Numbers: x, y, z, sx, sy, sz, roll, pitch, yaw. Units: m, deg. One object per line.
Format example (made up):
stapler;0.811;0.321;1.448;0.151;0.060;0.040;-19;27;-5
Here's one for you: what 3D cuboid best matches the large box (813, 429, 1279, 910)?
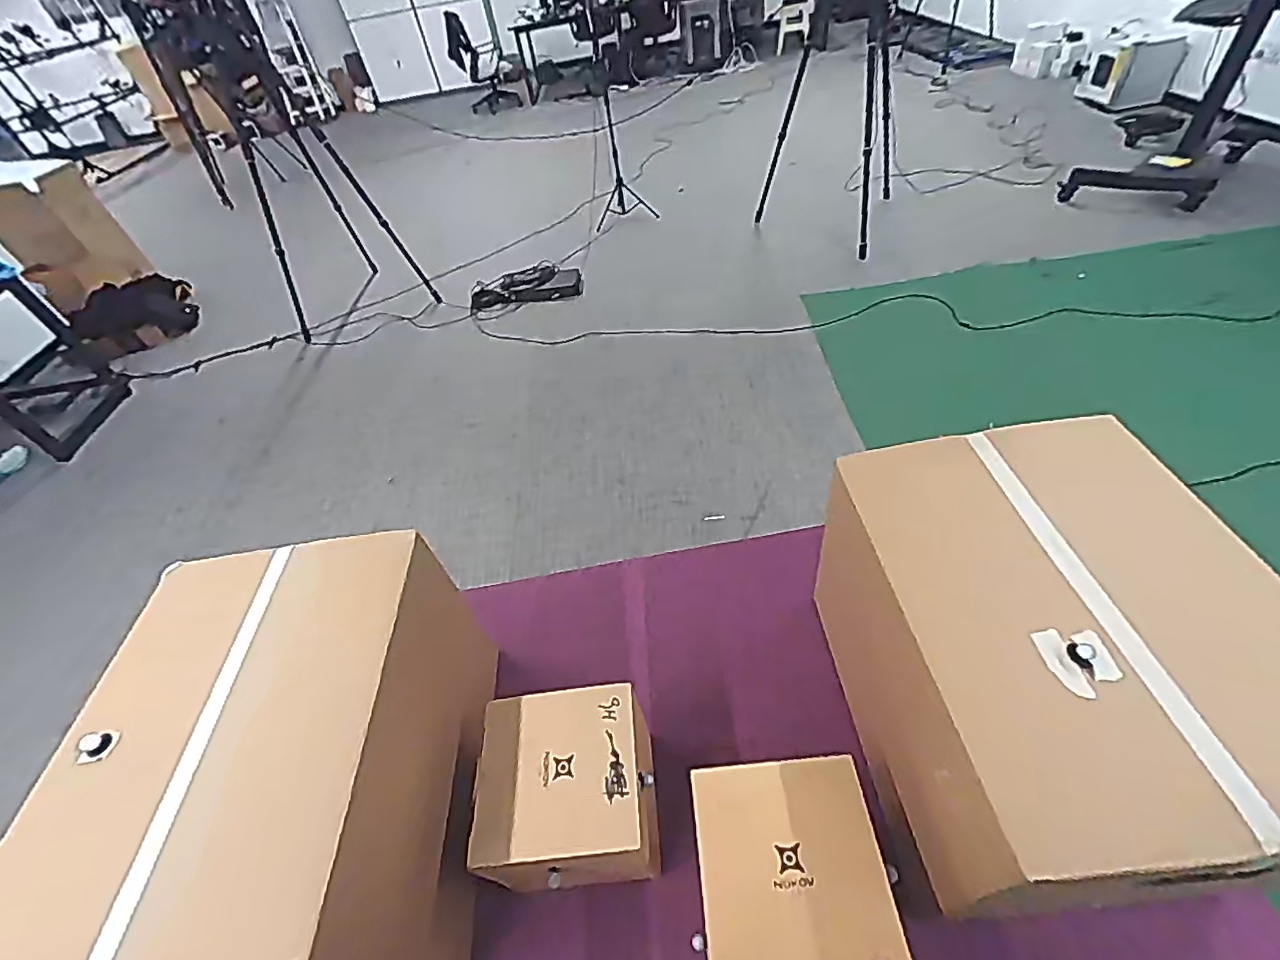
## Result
large box;0.417;0.202;0.603;0.320;0.320;0.408;-8;47;3
